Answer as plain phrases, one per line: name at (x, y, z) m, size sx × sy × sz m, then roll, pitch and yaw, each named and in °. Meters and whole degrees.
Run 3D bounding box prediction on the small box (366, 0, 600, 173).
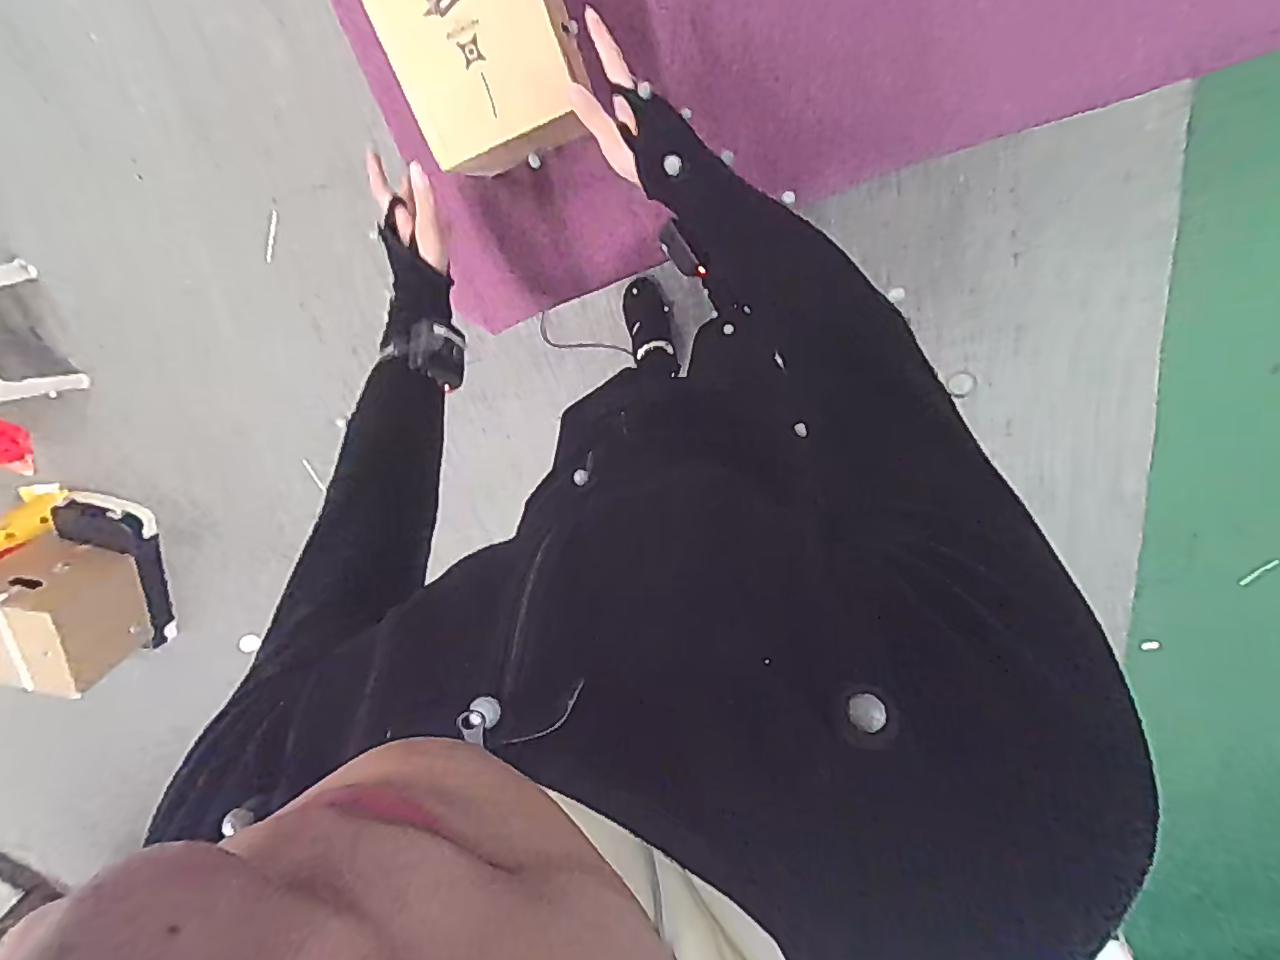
small box at (-0.155, -0.456, 0.585) m, size 0.168 × 0.176 × 0.179 m, roll -16°, pitch 116°, yaw 12°
